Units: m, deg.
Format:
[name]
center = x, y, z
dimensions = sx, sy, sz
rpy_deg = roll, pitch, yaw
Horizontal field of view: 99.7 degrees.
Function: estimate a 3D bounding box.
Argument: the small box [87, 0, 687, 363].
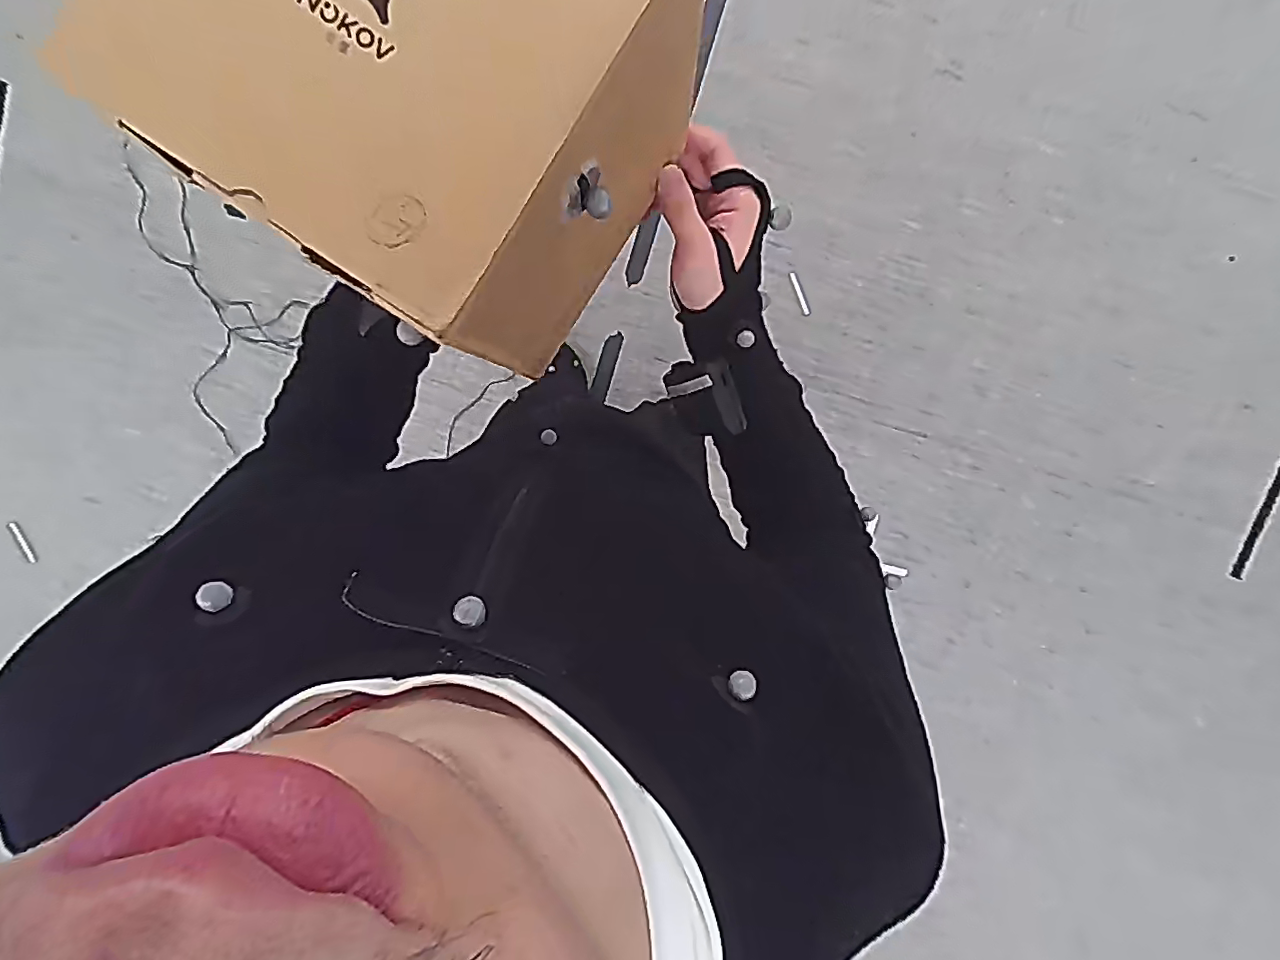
[small box]
center = -0.087, -0.178, 0.272
dimensions = 0.168, 0.176, 0.179
rpy_deg = 34, 94, -3
